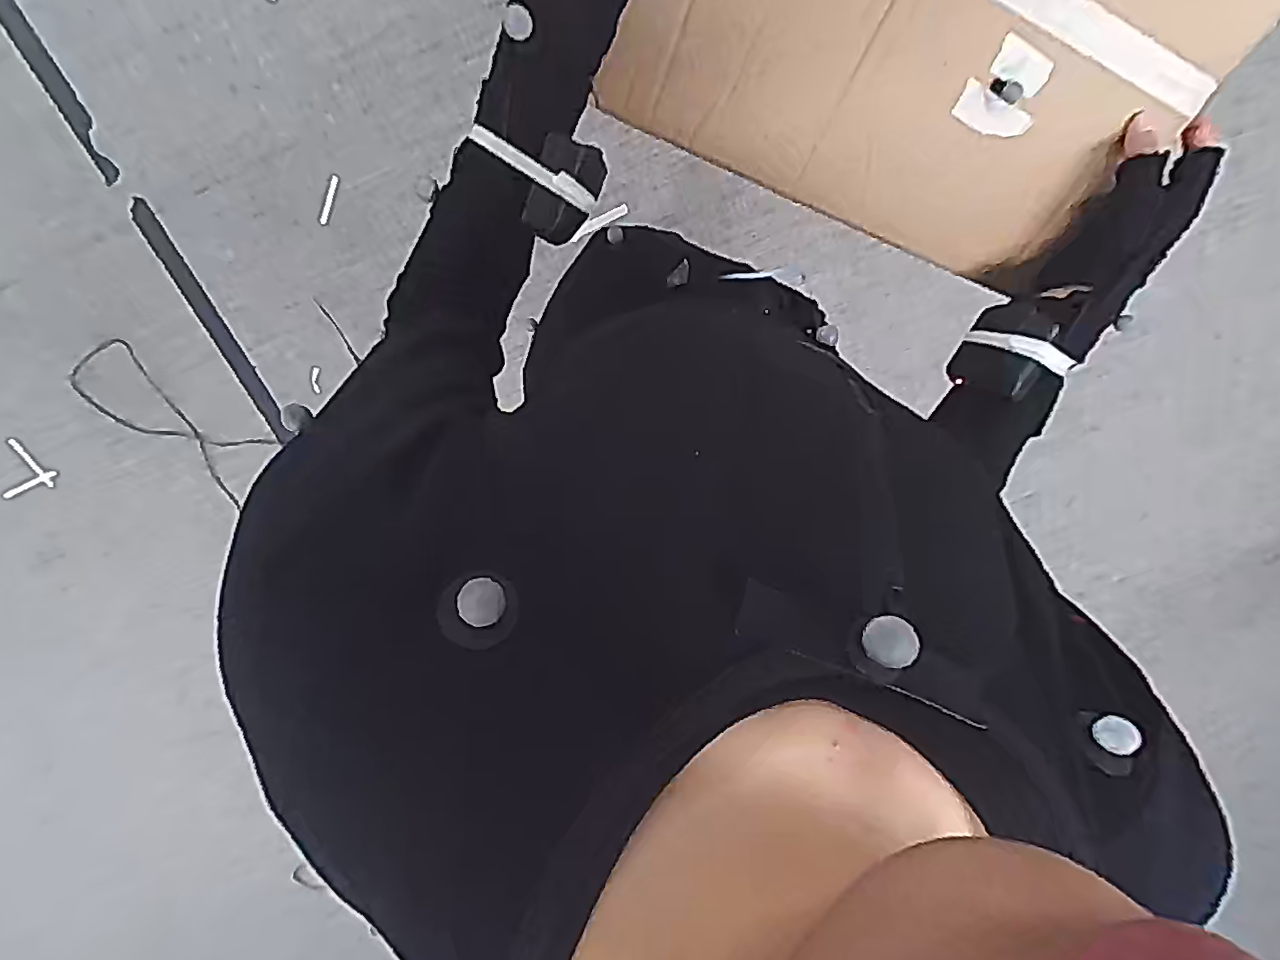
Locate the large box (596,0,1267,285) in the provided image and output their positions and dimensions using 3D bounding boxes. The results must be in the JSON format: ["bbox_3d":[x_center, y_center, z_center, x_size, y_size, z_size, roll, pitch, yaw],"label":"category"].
[{"bbox_3d":[0.201,-0.430,0.452,0.408,0.320,0.320,16,132,-15],"label":"large box"}]
